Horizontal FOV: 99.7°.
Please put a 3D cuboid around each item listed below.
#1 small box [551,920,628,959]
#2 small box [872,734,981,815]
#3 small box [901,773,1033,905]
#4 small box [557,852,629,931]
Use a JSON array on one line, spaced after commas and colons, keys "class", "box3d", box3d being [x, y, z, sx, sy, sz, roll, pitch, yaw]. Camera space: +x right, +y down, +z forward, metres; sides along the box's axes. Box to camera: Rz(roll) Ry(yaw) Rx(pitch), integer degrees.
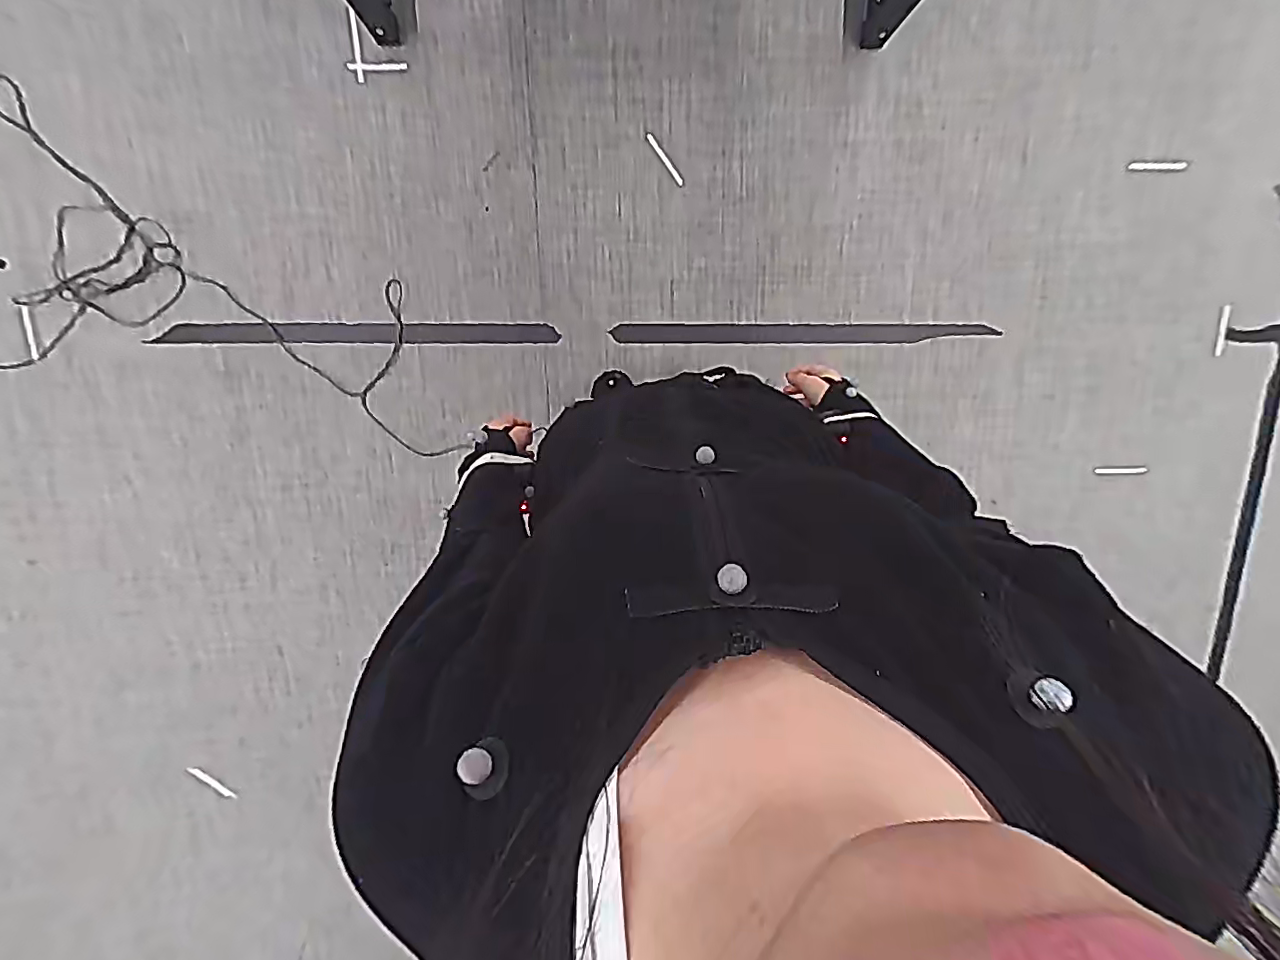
[{"class": "small box", "box3d": [-0.111, 1.097, 1.168, 0.168, 0.176, 0.179, 1, 101, -2]}, {"class": "small box", "box3d": [0.764, 0.819, 1.452, 0.179, 0.176, 0.168, 44, 98, -11]}, {"class": "small box", "box3d": [0.769, 0.844, 1.292, 0.168, 0.176, 0.179, -43, 101, 6]}, {"class": "small box", "box3d": [-0.118, 1.053, 1.326, 0.168, 0.176, 0.179, 4, 102, -3]}]
